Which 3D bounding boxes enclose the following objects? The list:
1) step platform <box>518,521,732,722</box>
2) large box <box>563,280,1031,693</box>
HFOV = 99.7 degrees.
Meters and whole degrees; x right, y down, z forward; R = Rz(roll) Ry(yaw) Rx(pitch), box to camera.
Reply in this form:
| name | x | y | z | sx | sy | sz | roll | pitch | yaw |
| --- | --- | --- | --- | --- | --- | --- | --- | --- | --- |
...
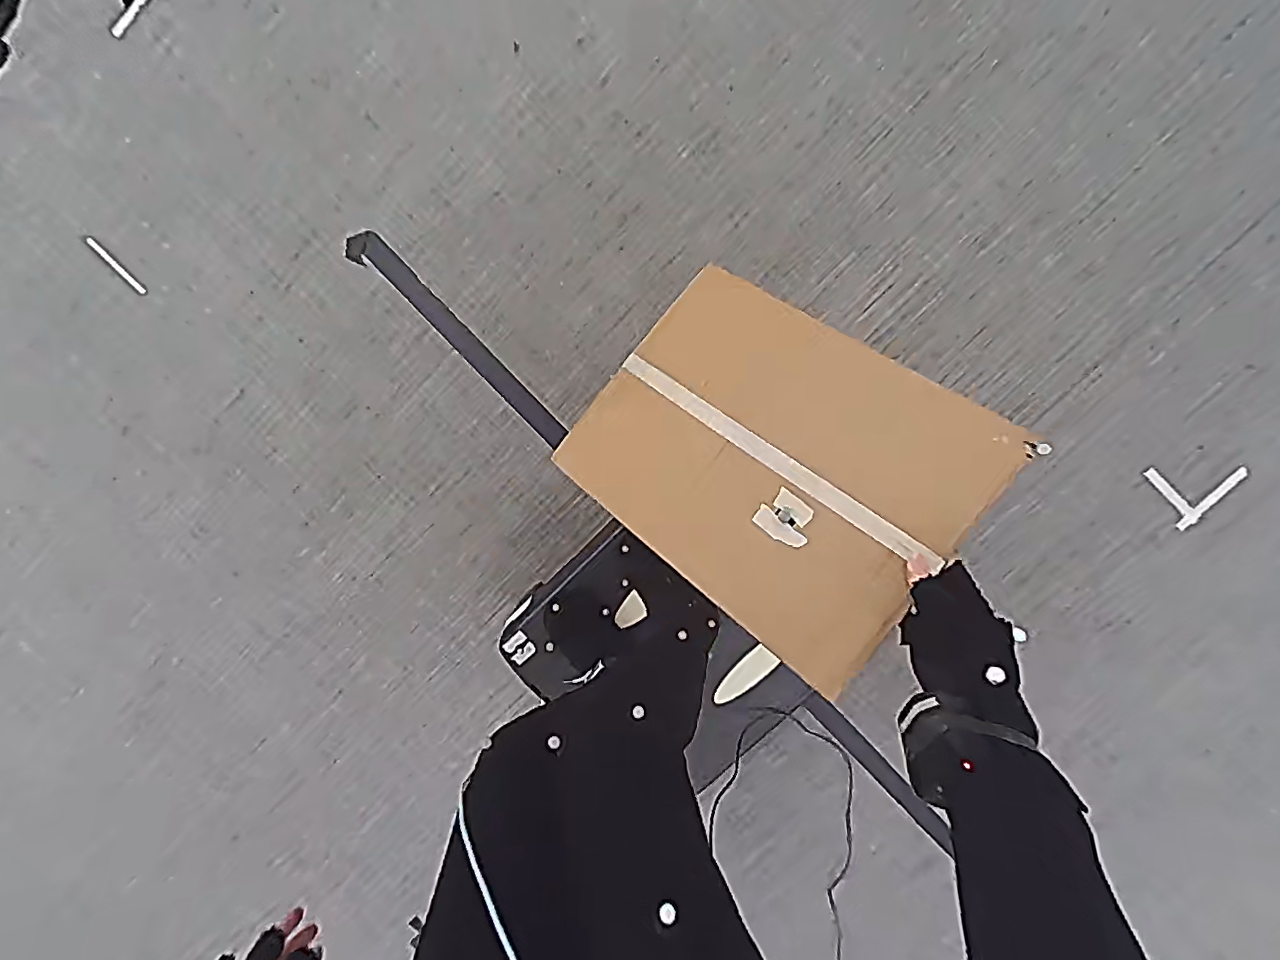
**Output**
| name | x | y | z | sx | sy | sz | roll | pitch | yaw |
| --- | --- | --- | --- | --- | --- | --- | --- | --- | --- |
| step platform | 0.070 | 0.158 | 1.099 | 0.286 | 0.204 | 0.684 | 44 | 96 | -4 |
| large box | 0.182 | 0.014 | 0.728 | 0.408 | 0.320 | 0.320 | 39 | 90 | 24 |
